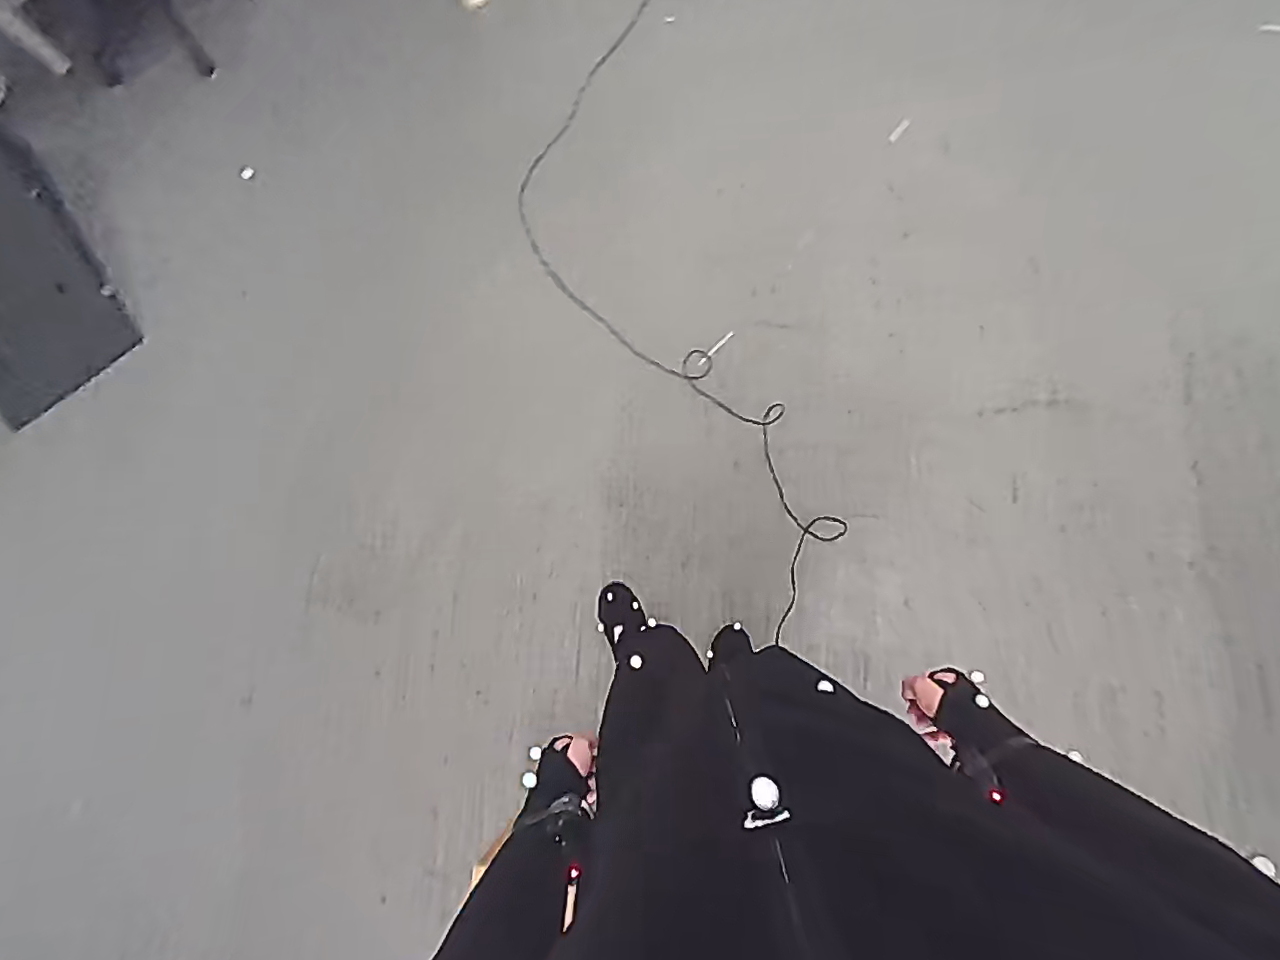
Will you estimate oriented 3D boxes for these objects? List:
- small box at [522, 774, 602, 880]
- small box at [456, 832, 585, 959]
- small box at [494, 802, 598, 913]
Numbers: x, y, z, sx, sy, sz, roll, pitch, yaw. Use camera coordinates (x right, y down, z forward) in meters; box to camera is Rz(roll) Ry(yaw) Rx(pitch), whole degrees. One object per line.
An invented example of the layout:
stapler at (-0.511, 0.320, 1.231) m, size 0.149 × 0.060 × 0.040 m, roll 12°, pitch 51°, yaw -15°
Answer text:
small box at (-0.183, 0.812, 1.273) m, size 0.168 × 0.176 × 0.179 m, roll 1°, pitch 79°, yaw 4°
small box at (-0.197, 0.739, 0.935) m, size 0.179 × 0.176 × 0.168 m, roll 3°, pitch 78°, yaw 6°
small box at (-0.192, 0.777, 1.090) m, size 0.179 × 0.176 × 0.168 m, roll 5°, pitch 81°, yaw 6°
